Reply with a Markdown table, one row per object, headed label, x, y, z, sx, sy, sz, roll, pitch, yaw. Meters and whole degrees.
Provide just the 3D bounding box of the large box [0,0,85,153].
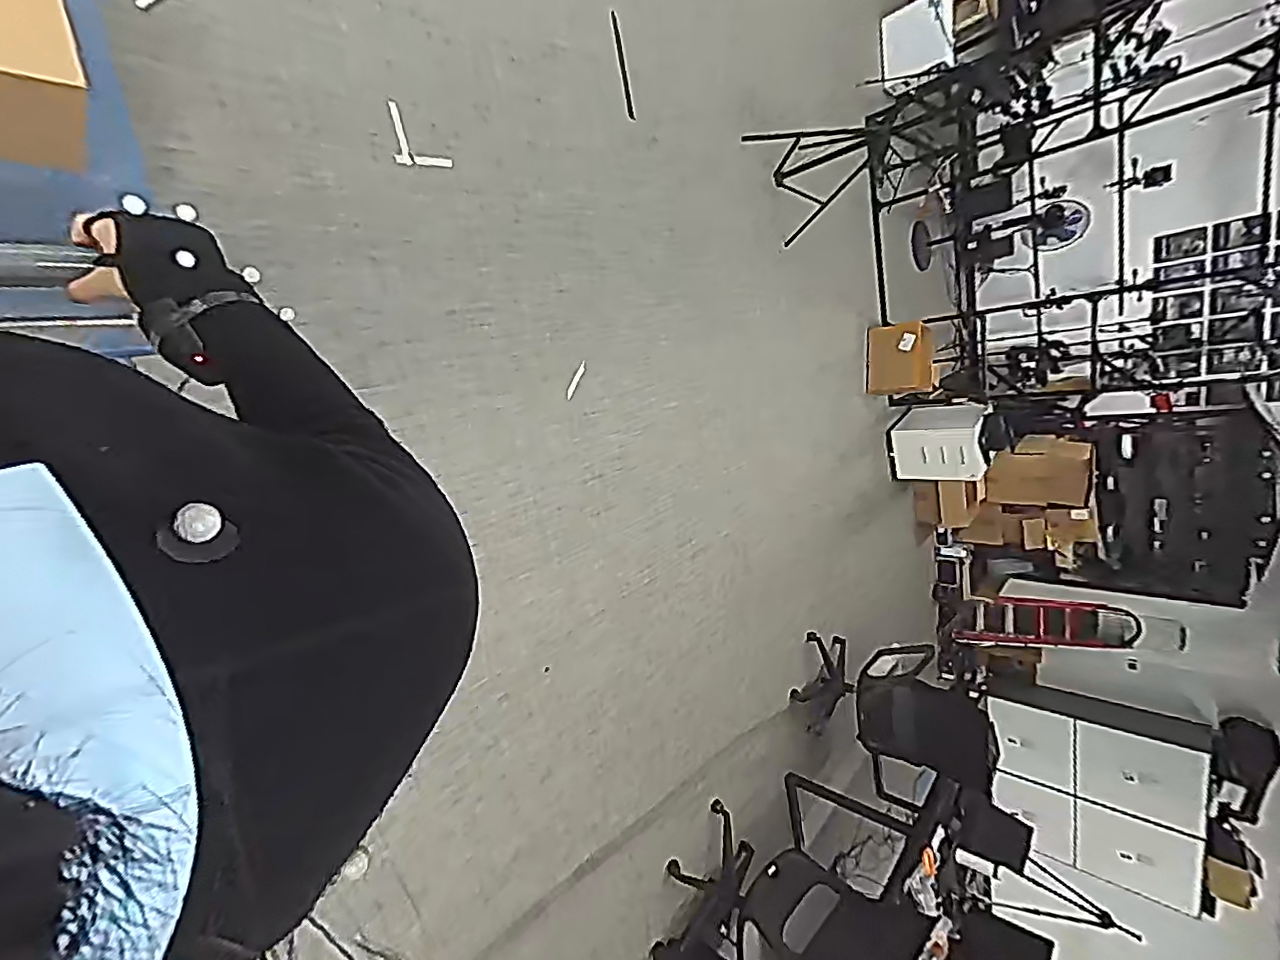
| label | x | y | z | sx | sy | sz | roll | pitch | yaw |
| --- | --- | --- | --- | --- | --- | --- | --- | --- | --- |
| large box | -1.027 | -0.662 | 0.680 | 0.408 | 0.320 | 0.320 | -18 | 104 | -43 |
